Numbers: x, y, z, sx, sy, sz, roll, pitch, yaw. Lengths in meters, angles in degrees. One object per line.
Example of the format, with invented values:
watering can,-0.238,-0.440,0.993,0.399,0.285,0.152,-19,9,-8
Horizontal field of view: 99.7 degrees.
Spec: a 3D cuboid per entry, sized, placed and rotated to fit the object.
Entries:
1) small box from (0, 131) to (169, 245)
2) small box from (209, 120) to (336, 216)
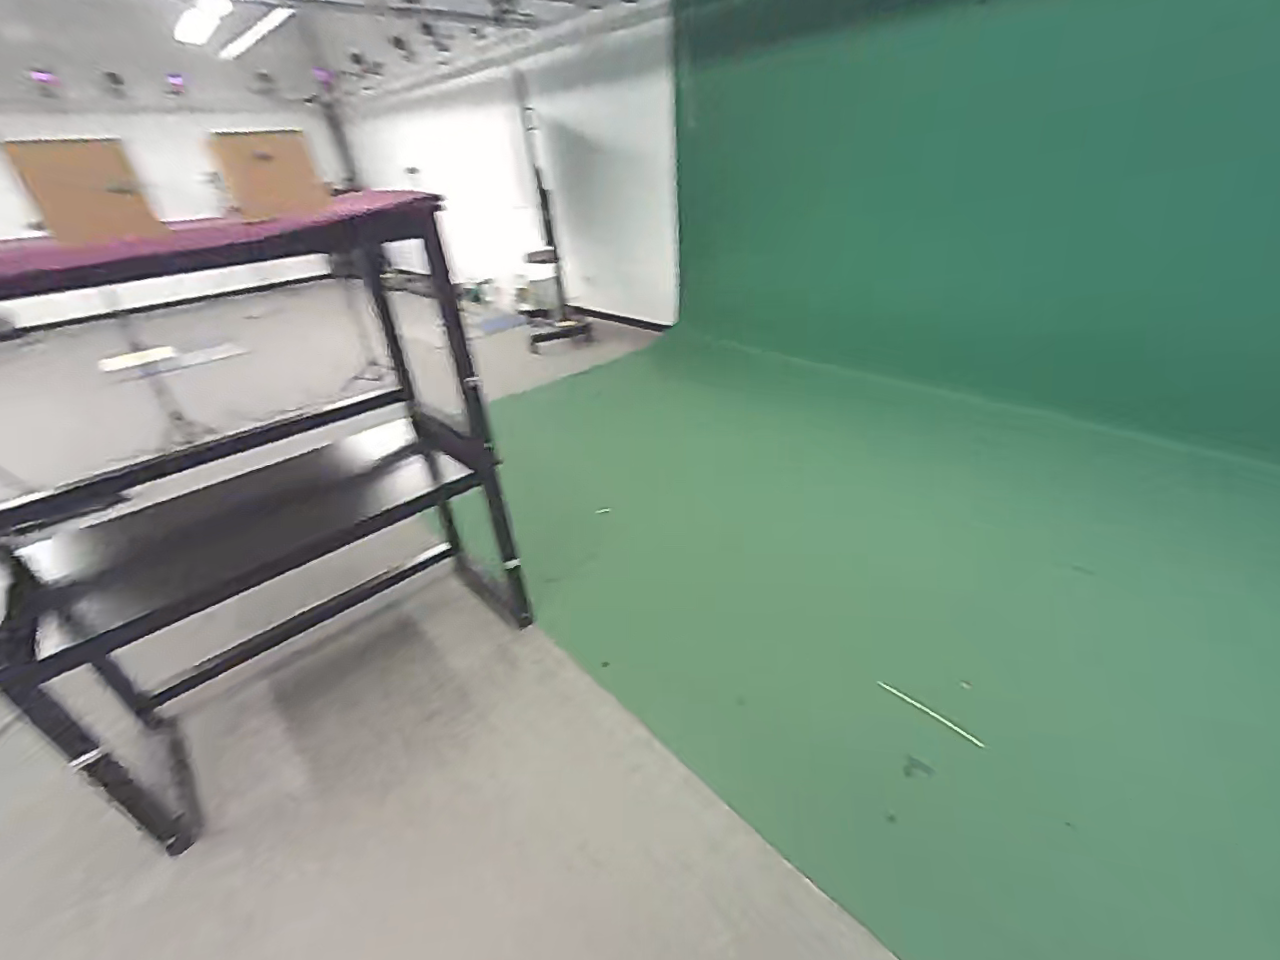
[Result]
small box,-1.042,-0.556,1.028,0.179,0.176,0.168,-31,40,-34
small box,-0.826,-0.699,1.222,0.179,0.176,0.168,-28,37,-32
